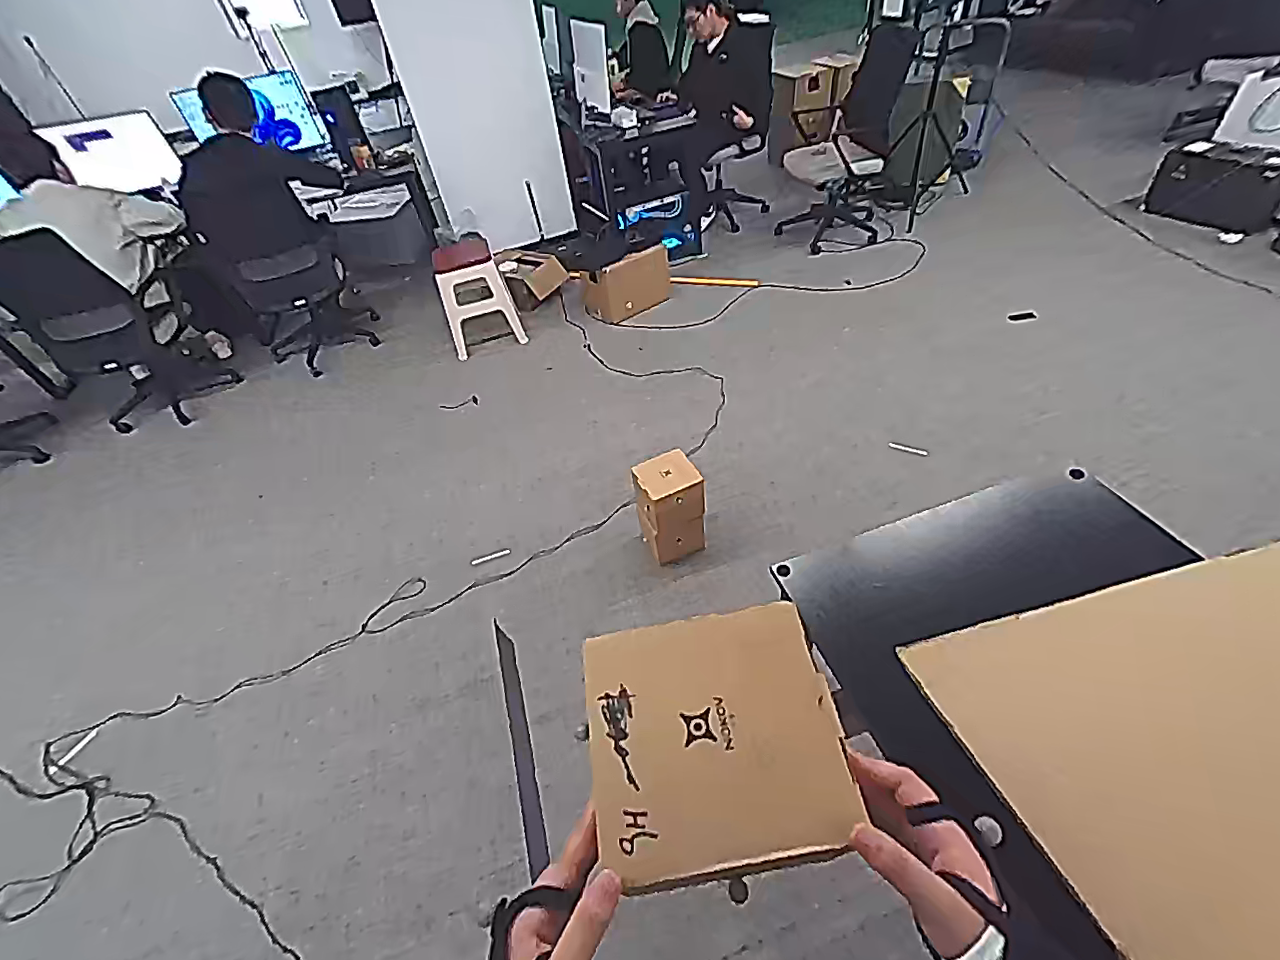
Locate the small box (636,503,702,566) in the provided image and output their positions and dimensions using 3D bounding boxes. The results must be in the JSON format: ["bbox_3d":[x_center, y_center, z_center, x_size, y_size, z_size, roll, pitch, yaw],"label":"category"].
[{"bbox_3d":[0.101,0.160,1.843,0.179,0.176,0.168,-21,46,-10],"label":"small box"}]

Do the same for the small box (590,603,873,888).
[{"bbox_3d":[0.060,0.225,0.453,0.179,0.176,0.168,-10,50,-1],"label":"small box"}]

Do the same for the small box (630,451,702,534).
[{"bbox_3d":[0.087,0.044,1.730,0.179,0.176,0.168,-22,47,-13],"label":"small box"}]
